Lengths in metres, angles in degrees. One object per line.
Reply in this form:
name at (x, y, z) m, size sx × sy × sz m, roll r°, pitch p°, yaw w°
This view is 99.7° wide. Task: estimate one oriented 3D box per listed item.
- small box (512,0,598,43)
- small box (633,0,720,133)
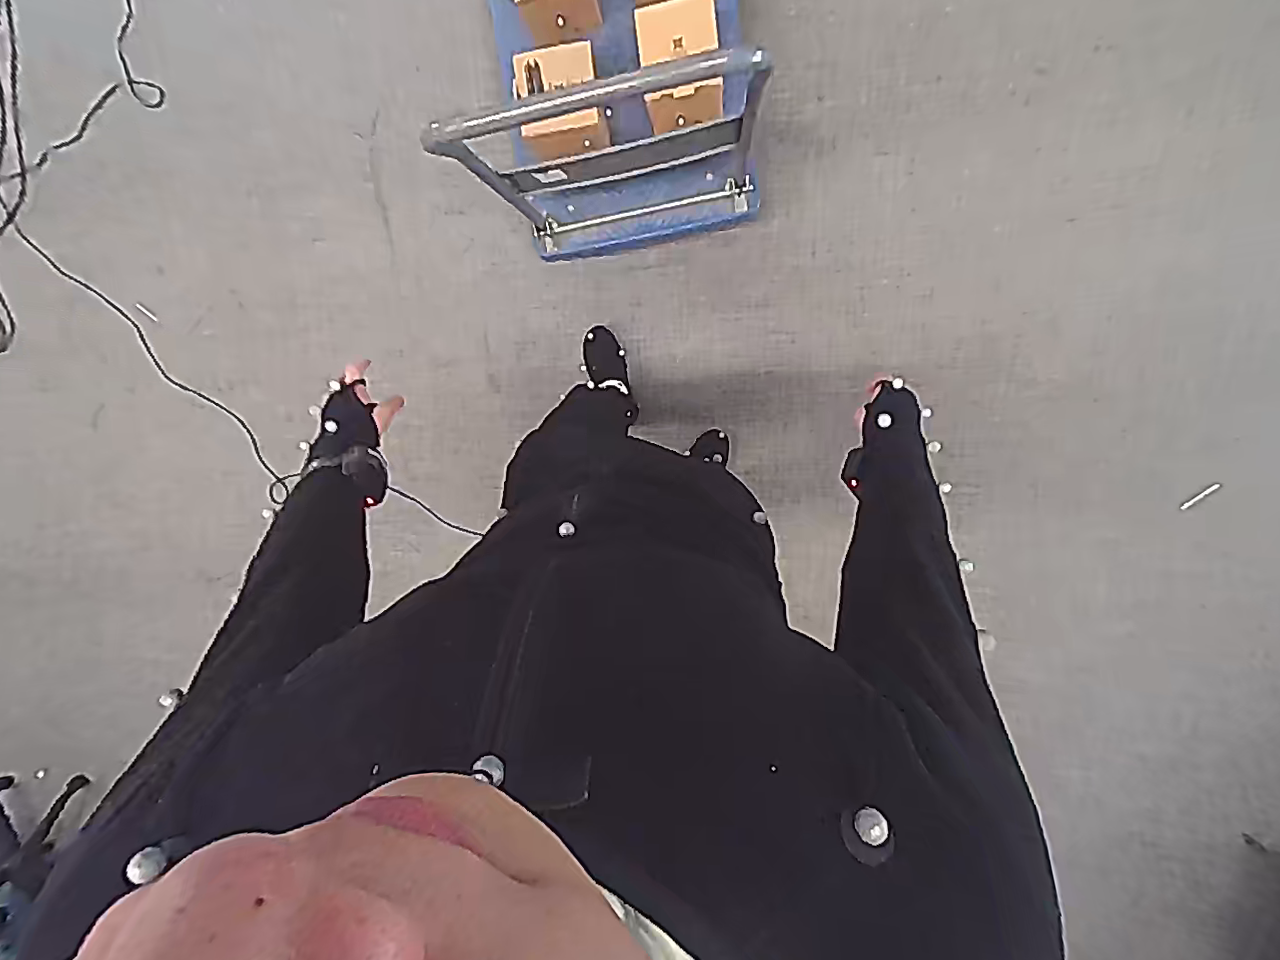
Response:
small box at (-0.203, -1.135, 1.217) m, size 0.168 × 0.176 × 0.179 m, roll -12°, pitch 98°, yaw 9°
small box at (0.085, -0.923, 1.212) m, size 0.168 × 0.176 × 0.179 m, roll -7°, pitch 99°, yaw 9°
